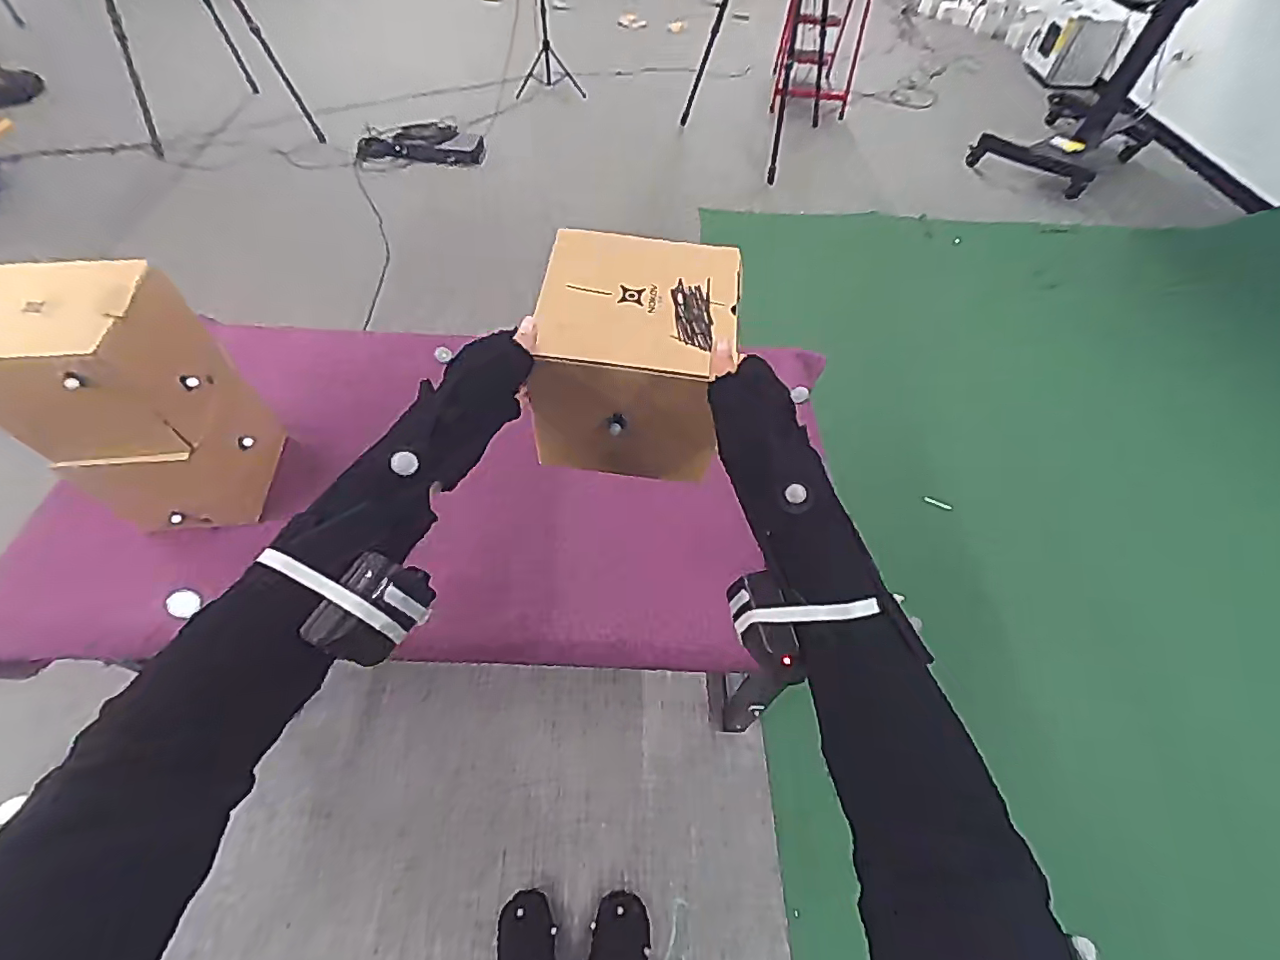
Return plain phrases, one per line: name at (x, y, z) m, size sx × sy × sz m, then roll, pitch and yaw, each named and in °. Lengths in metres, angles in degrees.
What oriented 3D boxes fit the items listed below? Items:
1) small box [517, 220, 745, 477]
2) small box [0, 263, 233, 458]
small box at (-0.005, -0.120, 0.534) m, size 0.179 × 0.176 × 0.168 m, roll 10°, pitch 58°, yaw 2°
small box at (-0.658, -0.141, 0.663) m, size 0.179 × 0.176 × 0.168 m, roll -5°, pitch 56°, yaw -7°
